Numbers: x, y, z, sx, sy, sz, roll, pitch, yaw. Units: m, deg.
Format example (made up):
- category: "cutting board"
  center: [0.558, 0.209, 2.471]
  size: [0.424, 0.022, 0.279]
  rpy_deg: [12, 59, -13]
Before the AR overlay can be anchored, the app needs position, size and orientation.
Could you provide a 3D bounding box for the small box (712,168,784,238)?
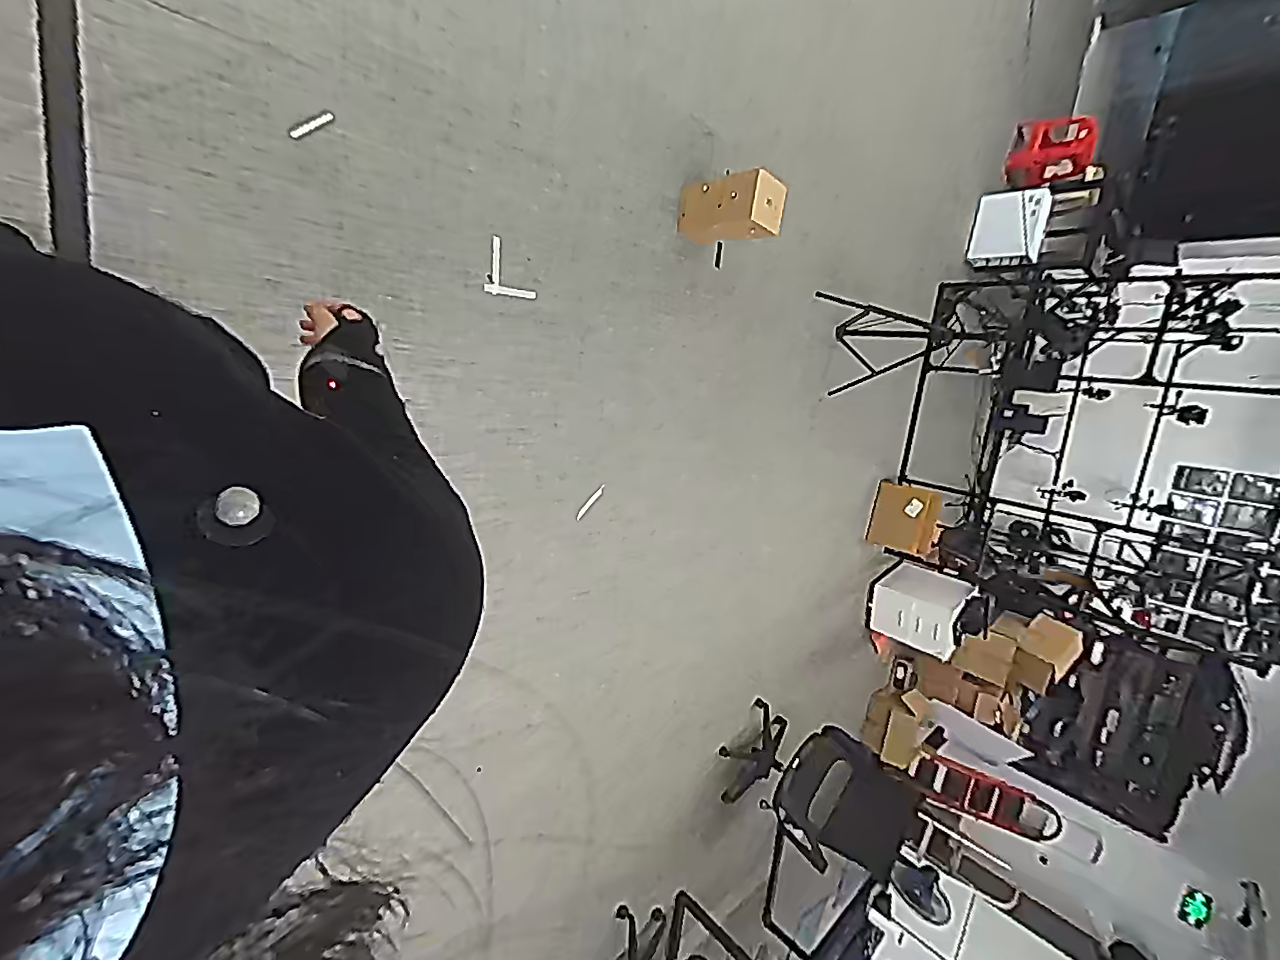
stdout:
- category: "small box"
  center: [0.374, -0.961, 1.896]
  size: [0.179, 0.176, 0.168]
  rpy_deg: [1, 102, -46]
